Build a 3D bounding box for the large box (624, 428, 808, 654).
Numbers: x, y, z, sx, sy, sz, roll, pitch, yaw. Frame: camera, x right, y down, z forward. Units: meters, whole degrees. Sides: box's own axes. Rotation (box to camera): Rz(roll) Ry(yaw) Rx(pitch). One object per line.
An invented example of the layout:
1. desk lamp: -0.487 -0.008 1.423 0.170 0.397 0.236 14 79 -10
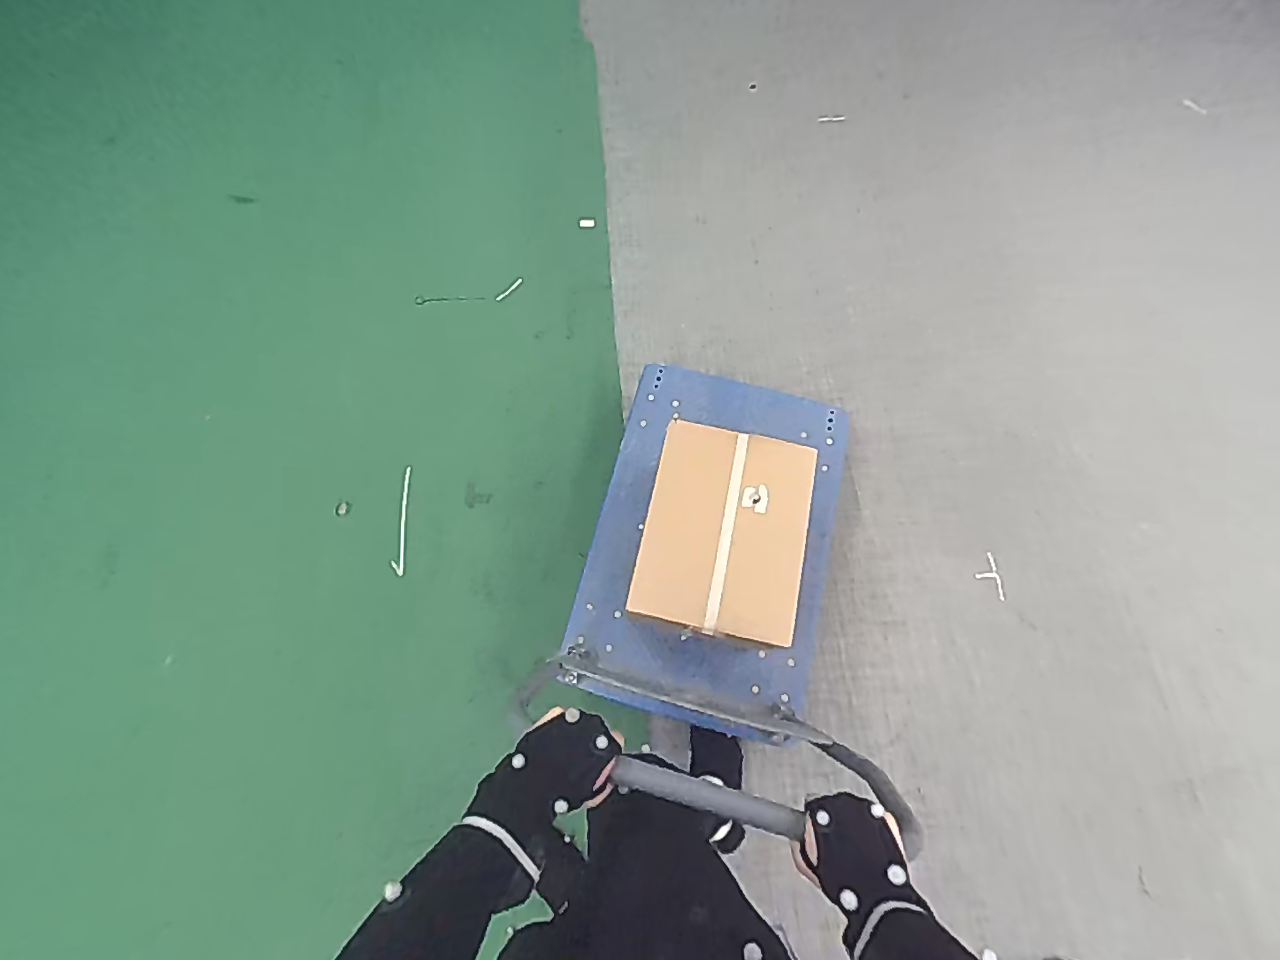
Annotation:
1. large box: 0.158 0.152 1.203 0.320 0.320 0.408 13 72 3
